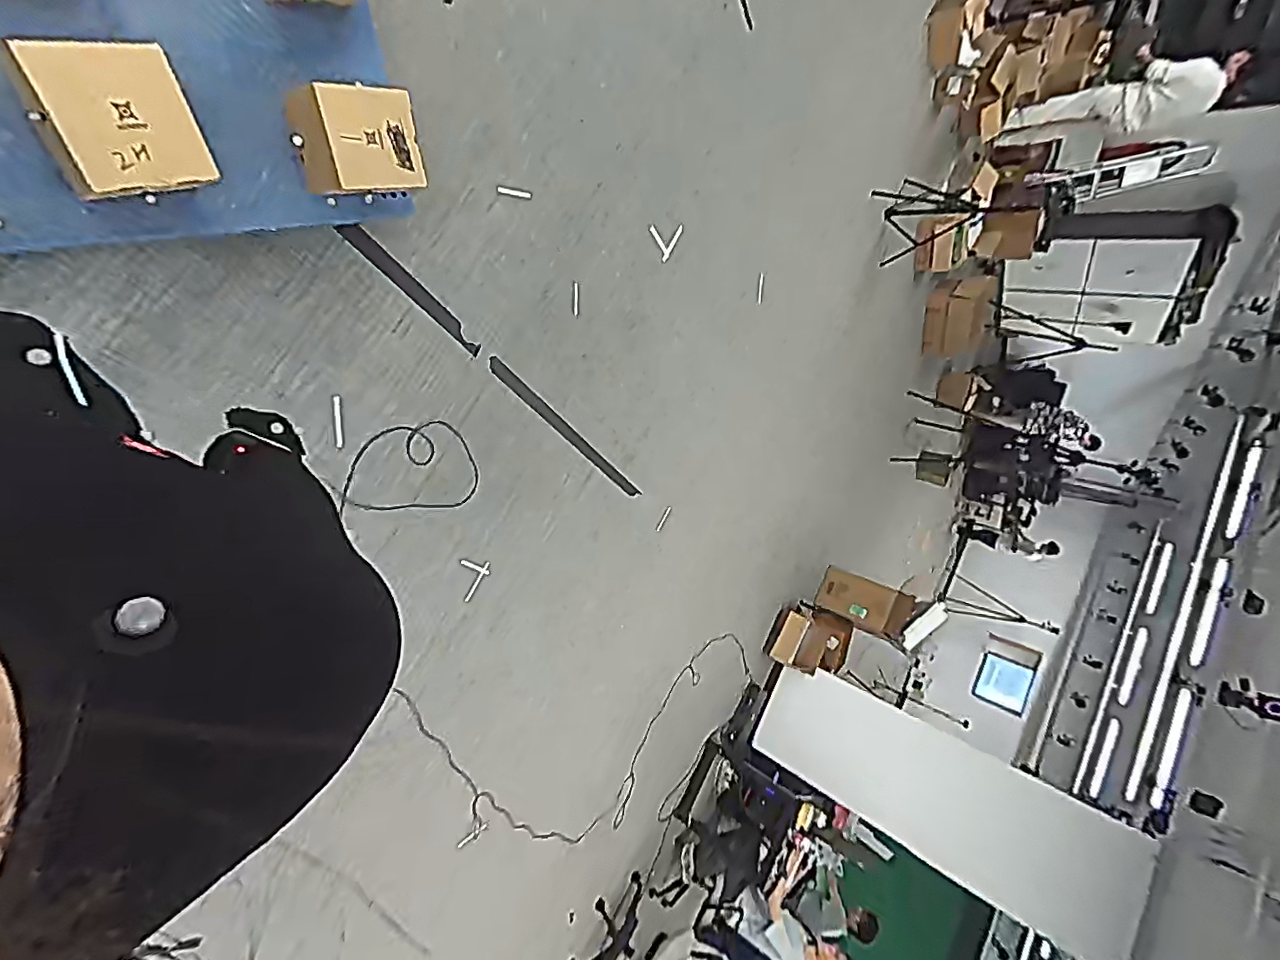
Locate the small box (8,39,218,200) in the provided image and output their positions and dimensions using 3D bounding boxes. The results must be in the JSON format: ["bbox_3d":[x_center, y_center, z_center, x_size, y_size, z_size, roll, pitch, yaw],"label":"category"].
[{"bbox_3d":[-0.797,-0.537,0.822,0.168,0.176,0.179,-35,130,-38],"label":"small box"}]

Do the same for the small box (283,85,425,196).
[{"bbox_3d":[-0.560,-0.658,1.067,0.179,0.176,0.168,-29,127,-40],"label":"small box"}]
